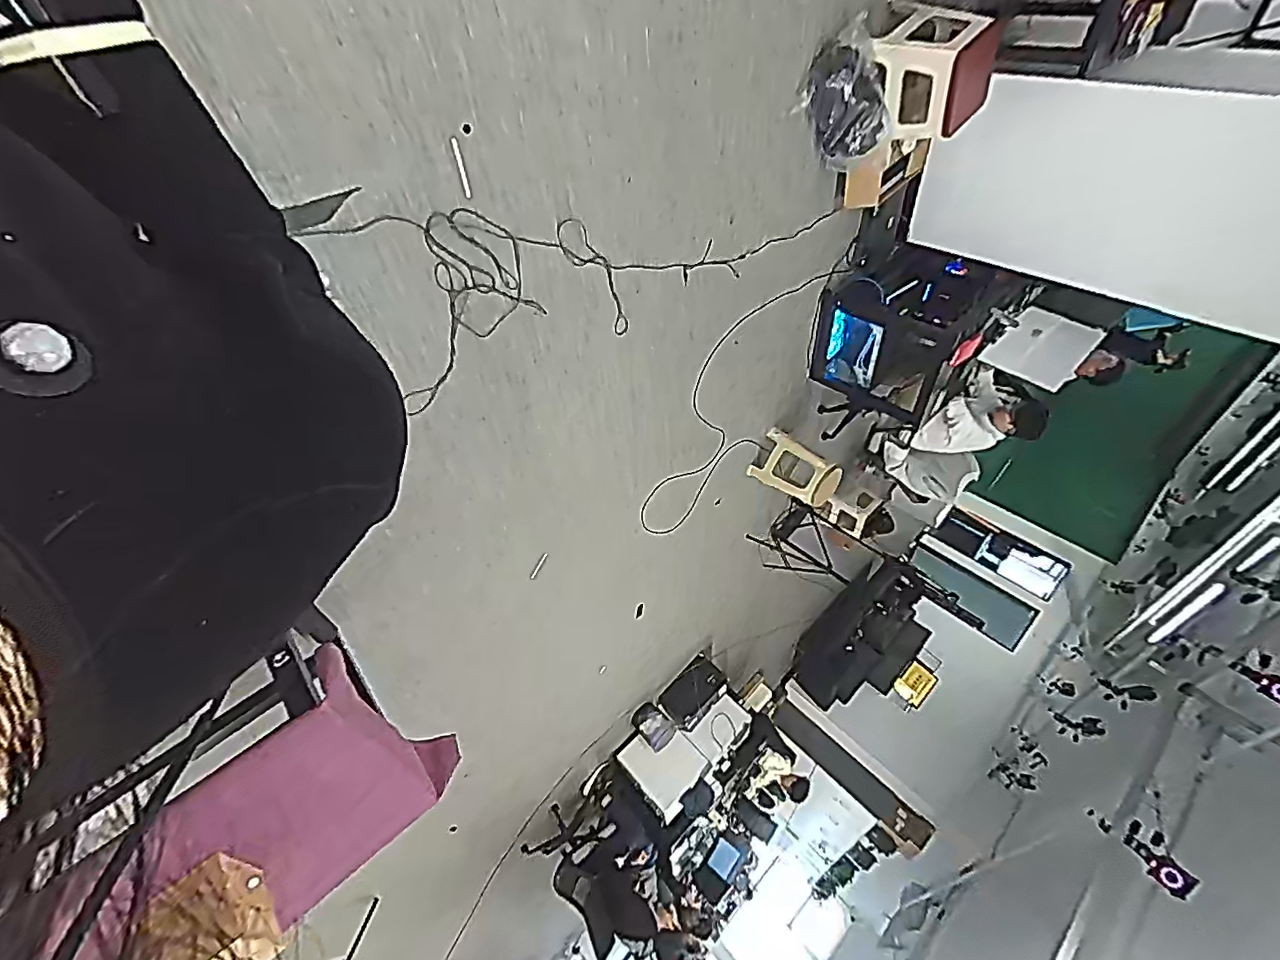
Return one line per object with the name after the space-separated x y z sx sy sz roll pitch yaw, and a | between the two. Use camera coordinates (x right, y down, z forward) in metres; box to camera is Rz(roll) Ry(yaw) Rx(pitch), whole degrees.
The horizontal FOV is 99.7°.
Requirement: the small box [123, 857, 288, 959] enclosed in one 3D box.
-0.795 0.847 0.990 0.179 0.176 0.168 -33 142 -28 | small box
